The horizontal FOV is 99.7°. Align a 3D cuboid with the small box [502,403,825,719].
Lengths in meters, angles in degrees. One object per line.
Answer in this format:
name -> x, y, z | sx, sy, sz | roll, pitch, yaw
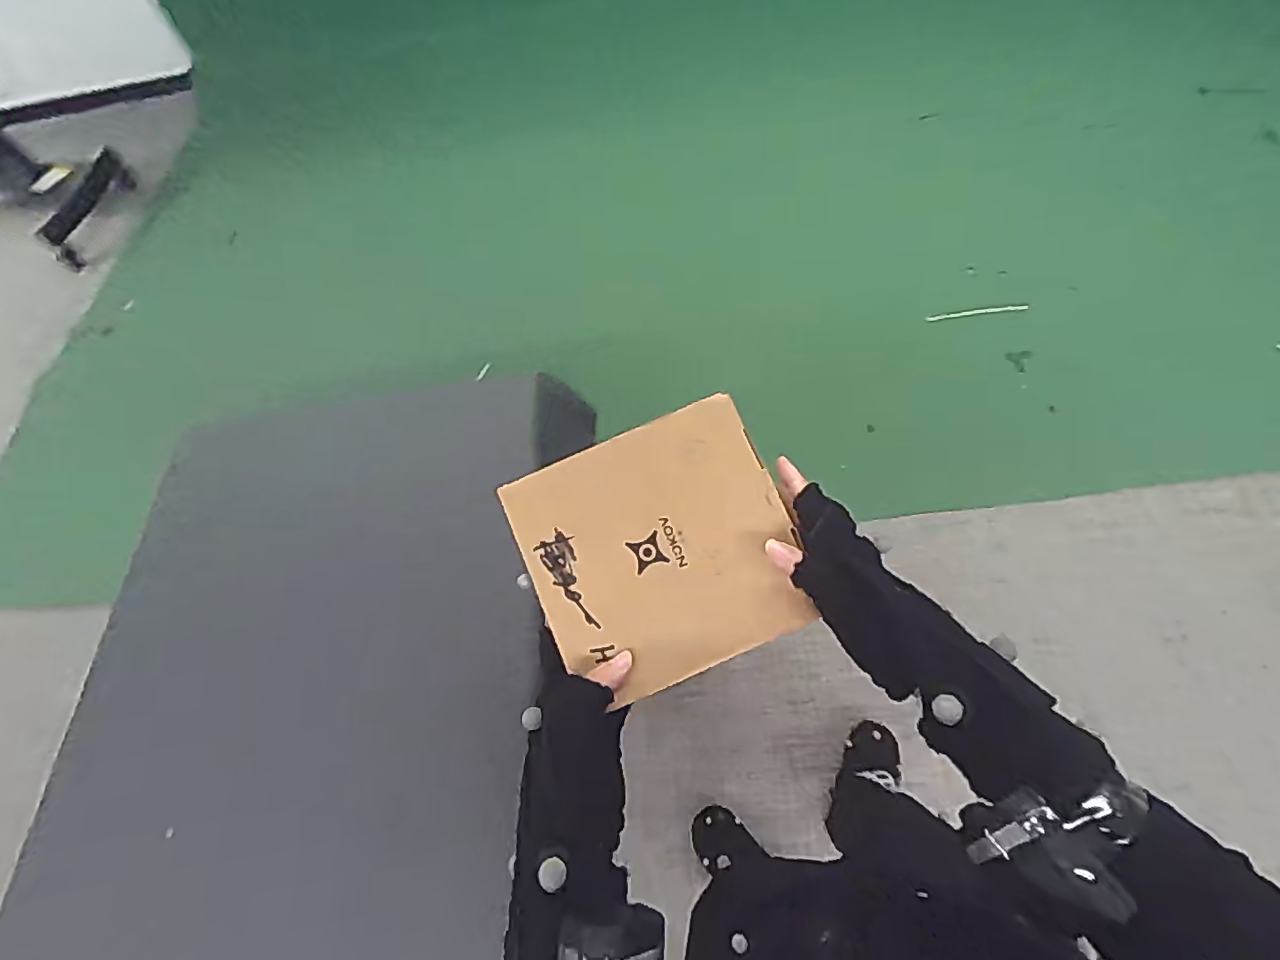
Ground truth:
small box -> 0.016, 0.062, 0.439 | 0.179, 0.176, 0.168 | -22, 79, -1
